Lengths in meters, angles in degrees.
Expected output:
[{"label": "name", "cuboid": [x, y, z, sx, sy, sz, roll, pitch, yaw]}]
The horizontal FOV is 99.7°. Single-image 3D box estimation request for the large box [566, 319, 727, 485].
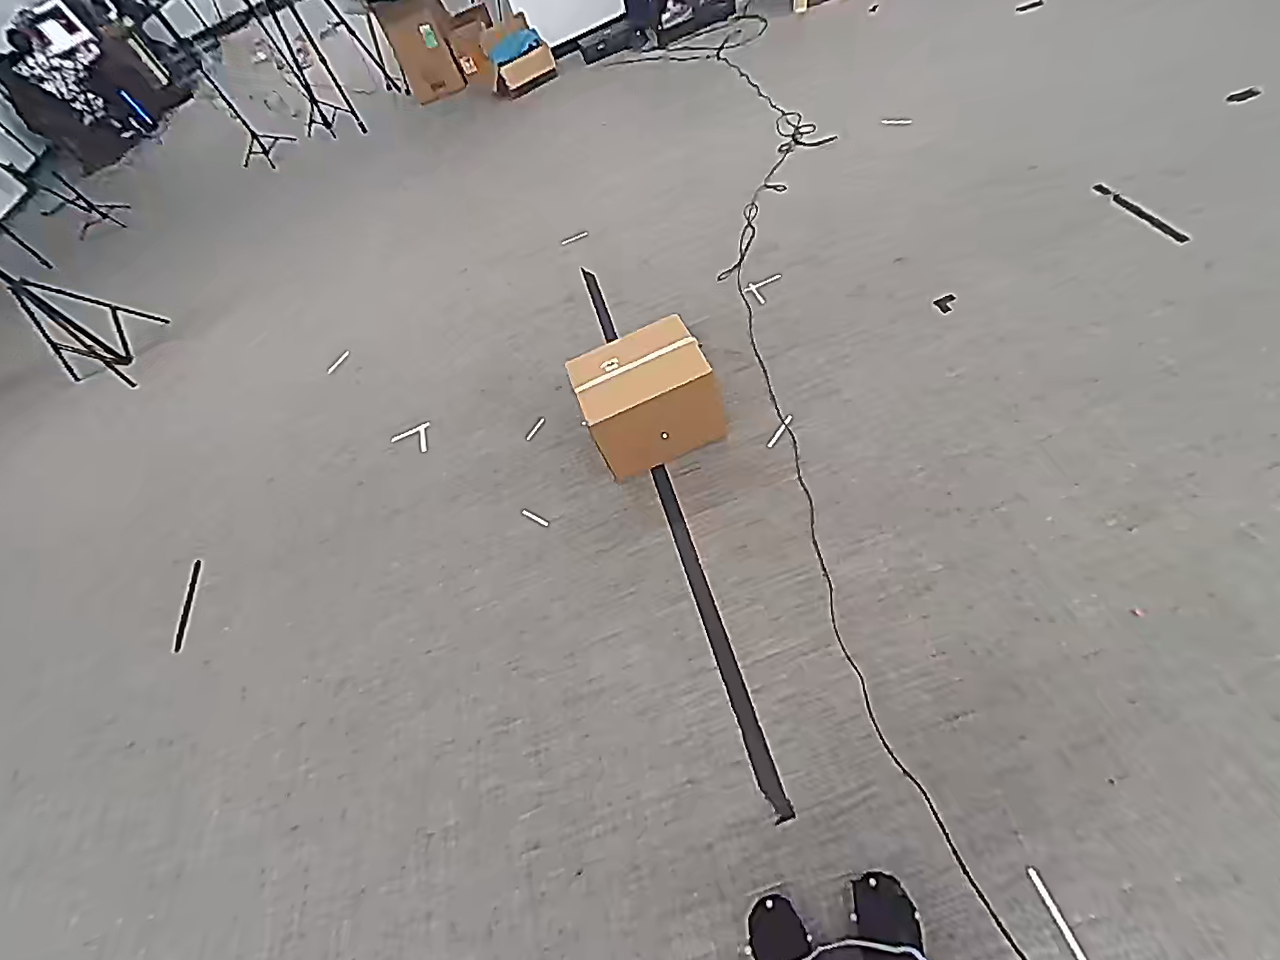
[{"label": "large box", "cuboid": [0.026, -0.250, 1.782, 0.408, 0.320, 0.320, -25, 51, 3]}]
